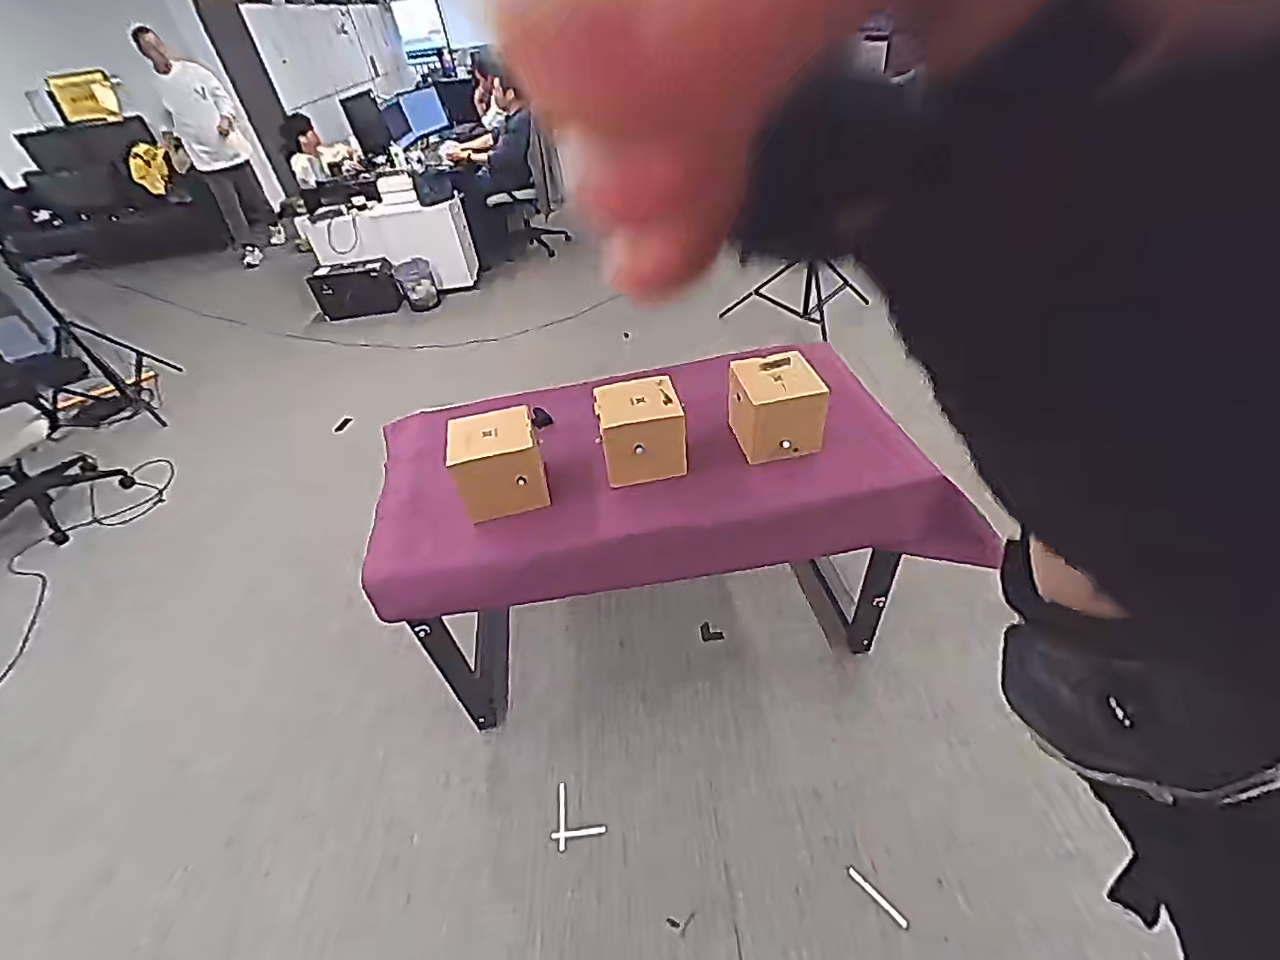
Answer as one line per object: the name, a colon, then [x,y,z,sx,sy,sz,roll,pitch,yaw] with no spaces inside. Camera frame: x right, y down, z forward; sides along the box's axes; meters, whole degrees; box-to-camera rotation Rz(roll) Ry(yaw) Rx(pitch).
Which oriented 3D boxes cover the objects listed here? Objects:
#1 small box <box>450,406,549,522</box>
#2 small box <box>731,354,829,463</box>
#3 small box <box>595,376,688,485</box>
small box: [-0.302,-0.033,1.184,0.179,0.176,0.168,-14,40,-6]
small box: [0.309,-0.164,1.236,0.168,0.176,0.179,-11,42,-3]
small box: [0.004,-0.108,1.221,0.179,0.176,0.168,-11,41,-3]
